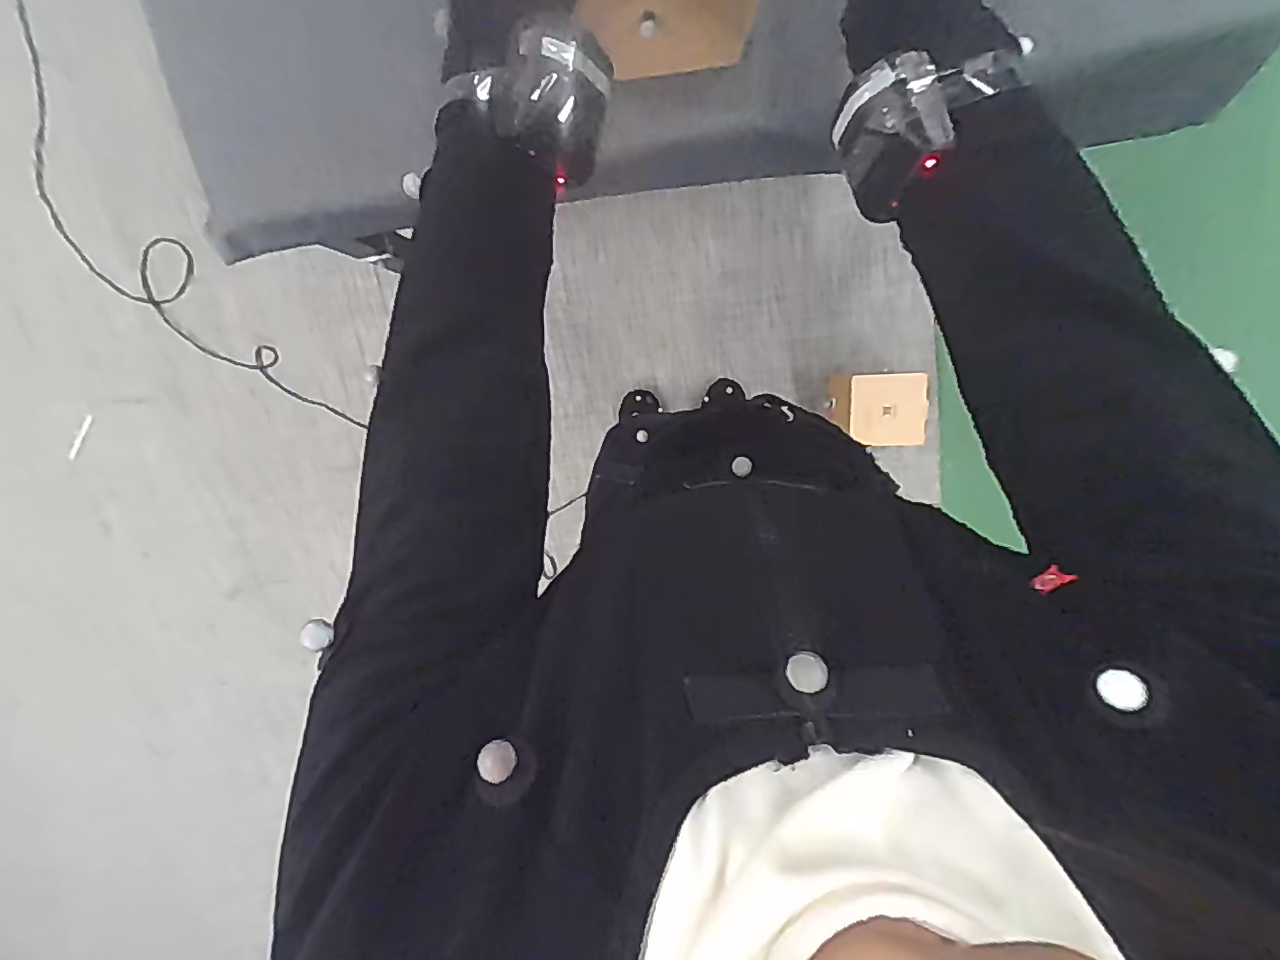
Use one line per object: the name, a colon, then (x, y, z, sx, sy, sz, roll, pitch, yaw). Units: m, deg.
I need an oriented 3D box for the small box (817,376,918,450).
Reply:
small box: (0.548, -0.167, 1.319, 0.179, 0.176, 0.168, -2, 101, 2)

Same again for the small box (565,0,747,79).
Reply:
small box: (0.010, -0.511, 0.504, 0.179, 0.176, 0.168, -6, 101, 2)
